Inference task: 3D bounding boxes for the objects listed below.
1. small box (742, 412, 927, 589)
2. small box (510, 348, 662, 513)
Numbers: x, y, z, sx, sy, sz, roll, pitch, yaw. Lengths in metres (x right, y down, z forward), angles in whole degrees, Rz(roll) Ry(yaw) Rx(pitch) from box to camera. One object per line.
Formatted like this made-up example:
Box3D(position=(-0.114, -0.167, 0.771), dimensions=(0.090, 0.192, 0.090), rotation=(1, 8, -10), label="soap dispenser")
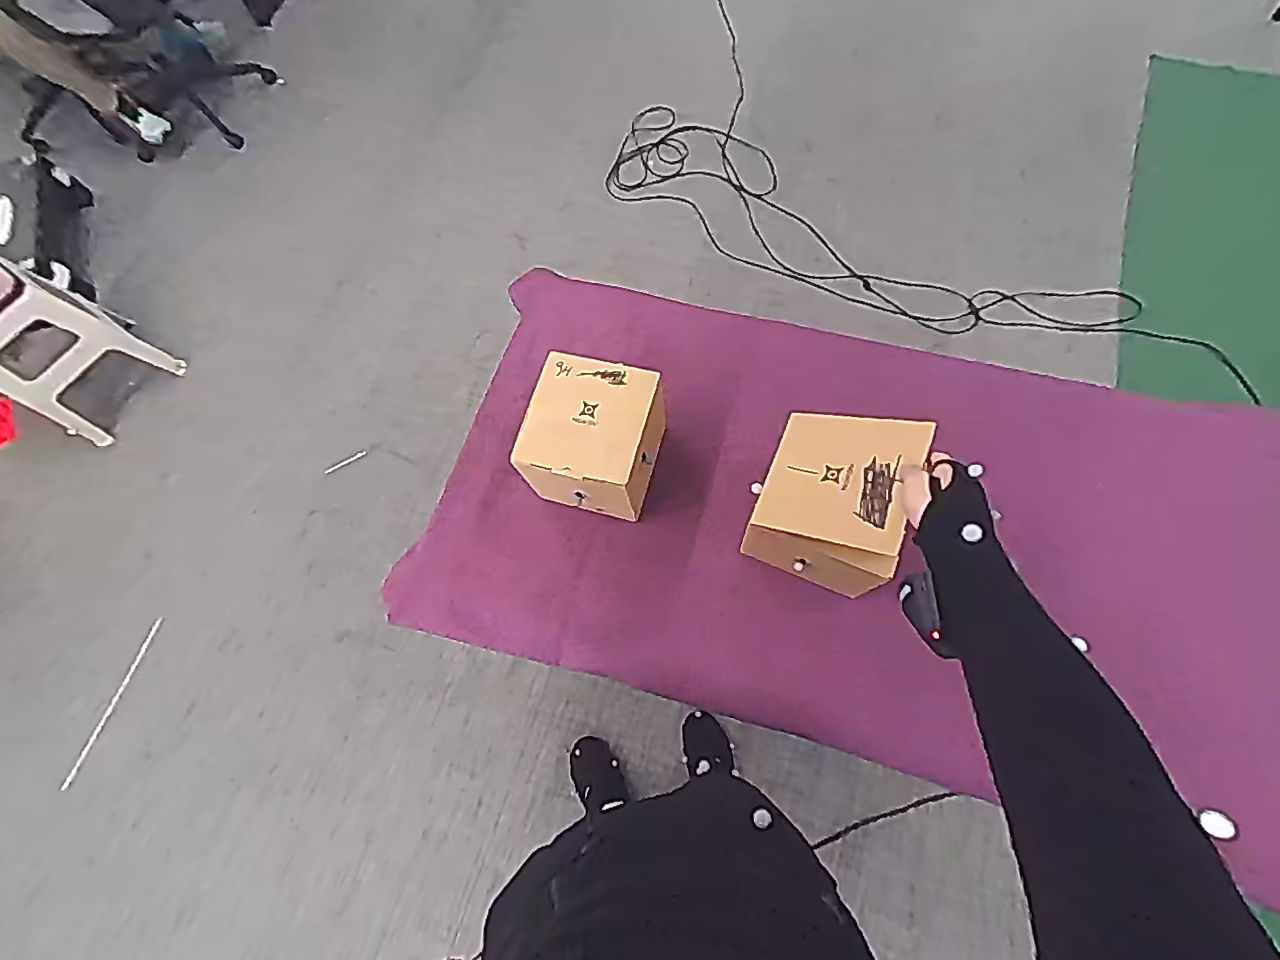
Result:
Box3D(position=(0.251, 0.037, 0.735), dimensions=(0.179, 0.176, 0.168), rotation=(21, 73, 14), label="small box")
Box3D(position=(-0.066, -0.064, 0.802), dimensions=(0.168, 0.176, 0.179), rotation=(14, 73, 9), label="small box")
